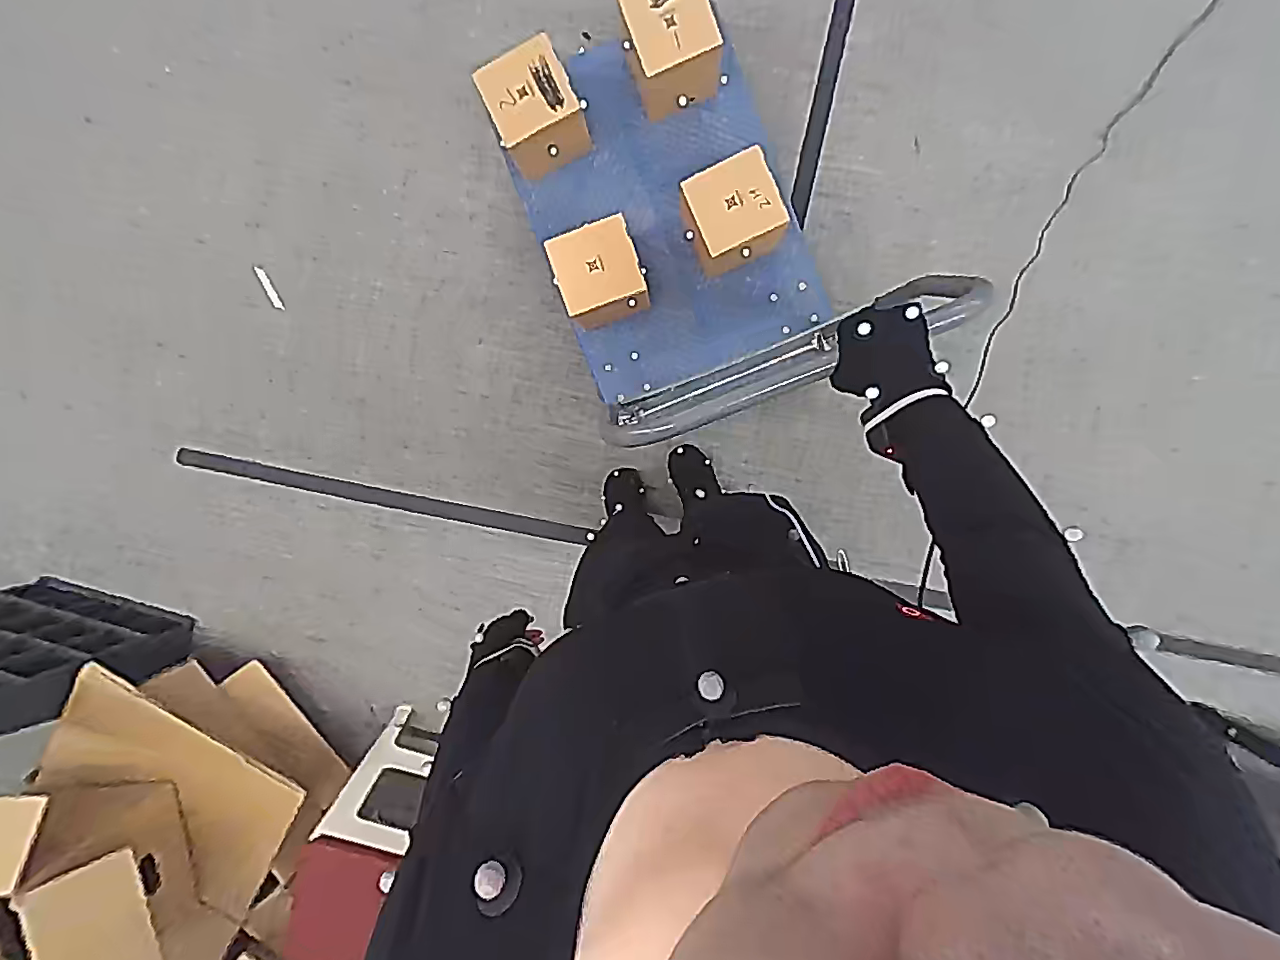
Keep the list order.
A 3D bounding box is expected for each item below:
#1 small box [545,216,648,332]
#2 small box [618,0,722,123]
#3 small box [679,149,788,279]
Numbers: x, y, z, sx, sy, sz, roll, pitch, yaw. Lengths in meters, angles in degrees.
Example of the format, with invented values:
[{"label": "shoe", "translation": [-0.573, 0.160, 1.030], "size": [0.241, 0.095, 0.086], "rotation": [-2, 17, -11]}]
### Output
[{"label": "small box", "translation": [-0.088, -0.446, 1.201], "size": [0.179, 0.176, 0.168], "rotation": [-20, 93, 3]}, {"label": "small box", "translation": [0.061, -0.916, 1.150], "size": [0.168, 0.176, 0.179], "rotation": [-21, 95, 5]}, {"label": "small box", "translation": [0.196, -0.564, 1.173], "size": [0.179, 0.176, 0.168], "rotation": [-24, 93, 5]}]
